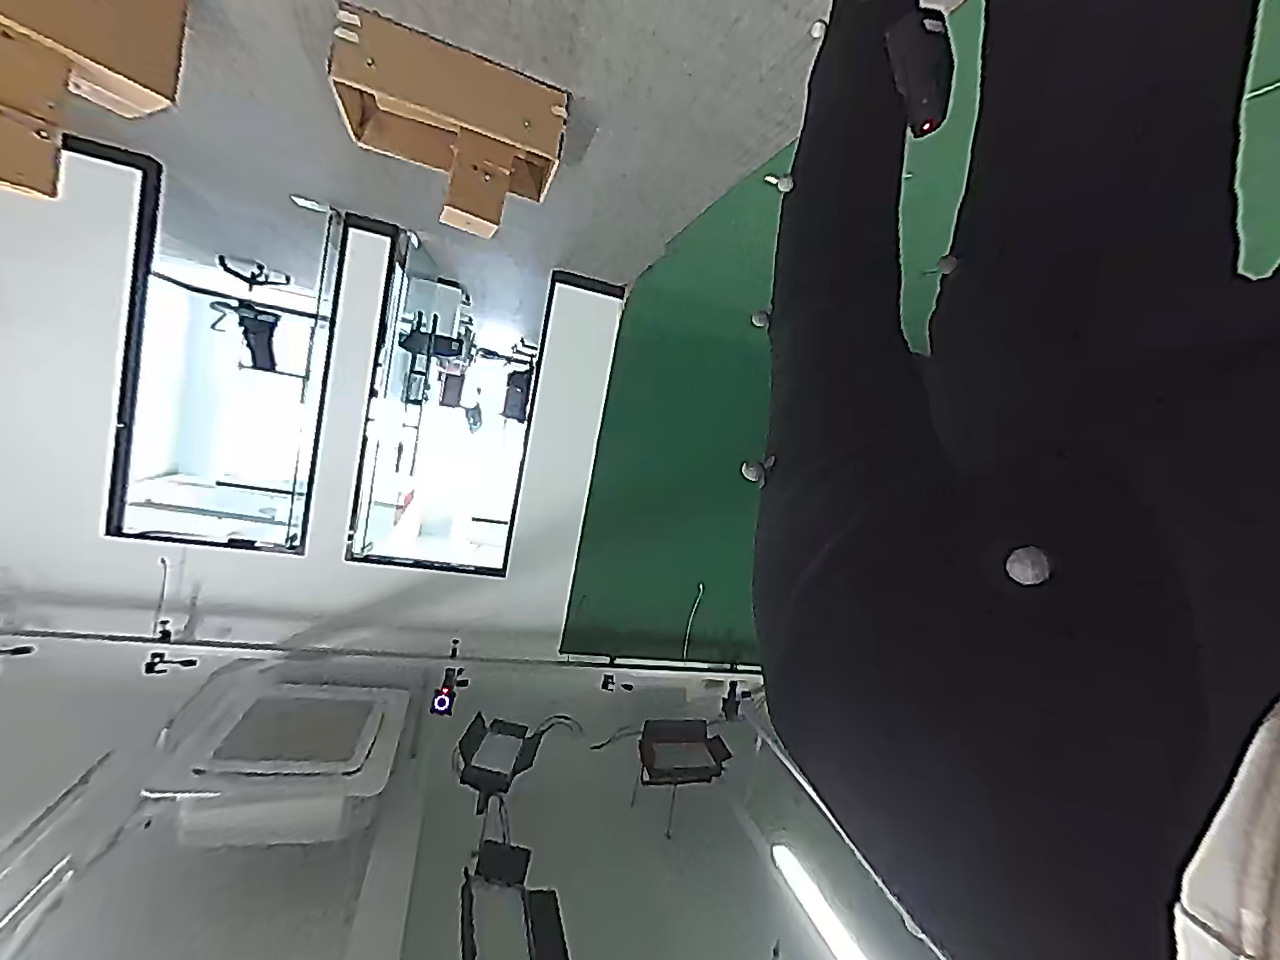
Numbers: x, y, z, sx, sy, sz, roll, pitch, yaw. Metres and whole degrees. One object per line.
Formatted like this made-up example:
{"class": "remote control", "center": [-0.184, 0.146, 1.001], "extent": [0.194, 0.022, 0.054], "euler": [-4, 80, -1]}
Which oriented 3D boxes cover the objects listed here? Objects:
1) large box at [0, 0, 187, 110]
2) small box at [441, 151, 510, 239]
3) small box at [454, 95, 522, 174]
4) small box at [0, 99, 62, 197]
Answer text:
{"class": "large box", "center": [-1.418, -1.195, 1.314], "extent": [0.320, 0.320, 0.408], "euler": [15, -173, 29]}
{"class": "small box", "center": [-0.522, -0.901, 1.719], "extent": [0.168, 0.176, 0.179], "euler": [12, -177, -27]}
{"class": "small box", "center": [-0.482, -1.059, 1.705], "extent": [0.168, 0.176, 0.179], "euler": [13, -177, -23]}
{"class": "small box", "center": [-1.500, -0.788, 1.267], "extent": [0.179, 0.176, 0.168], "euler": [14, -174, 28]}
